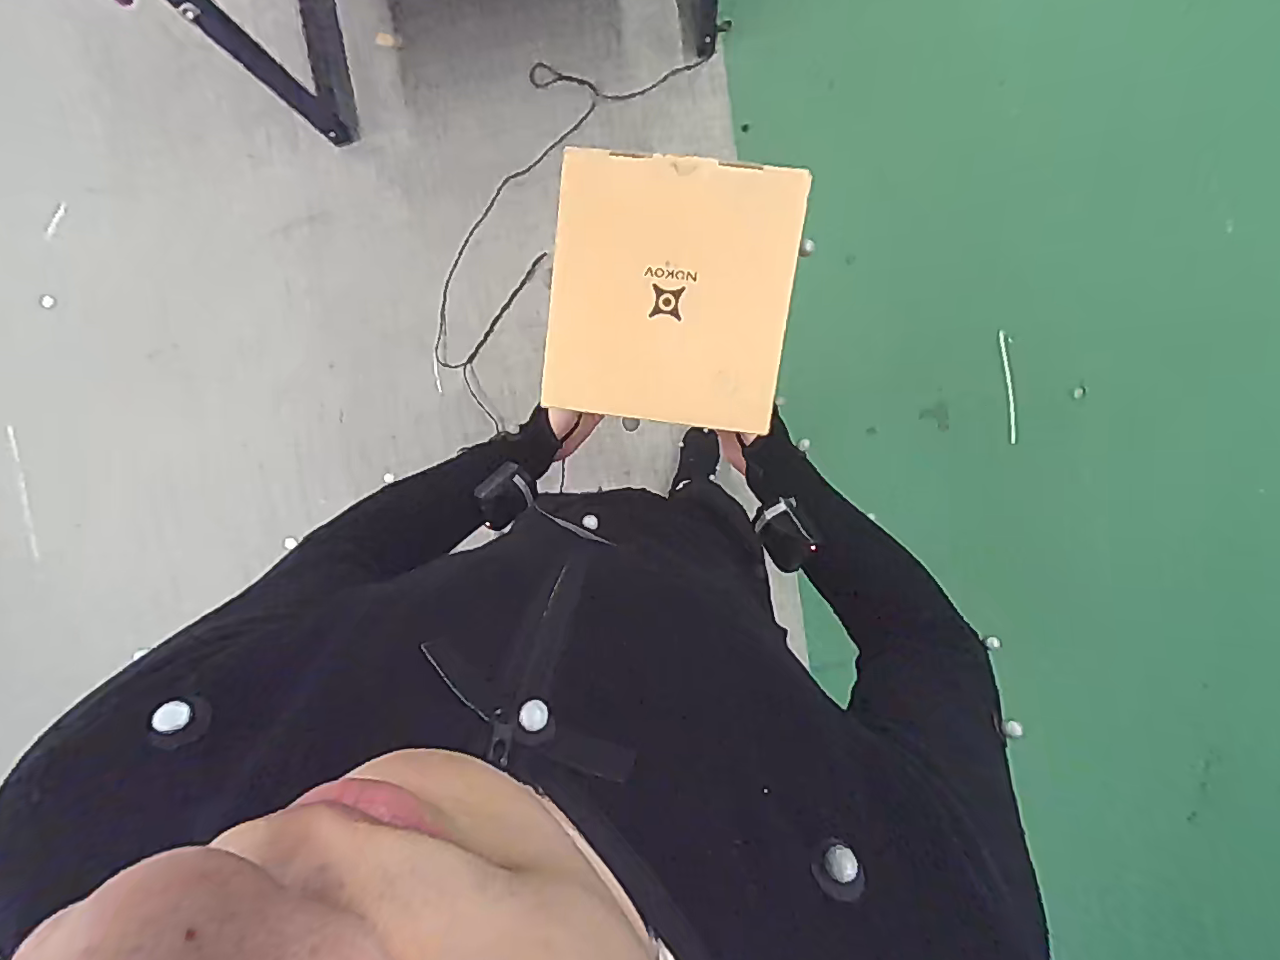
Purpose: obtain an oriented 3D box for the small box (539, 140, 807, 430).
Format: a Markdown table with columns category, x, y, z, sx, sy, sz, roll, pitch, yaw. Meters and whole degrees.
| category | x | y | z | sx | sy | sz | roll | pitch | yaw |
| --- | --- | --- | --- | --- | --- | --- | --- | --- | --- |
| small box | 0.026 | -0.142 | 0.443 | 0.168 | 0.176 | 0.179 | 7 | 100 | 4 |
